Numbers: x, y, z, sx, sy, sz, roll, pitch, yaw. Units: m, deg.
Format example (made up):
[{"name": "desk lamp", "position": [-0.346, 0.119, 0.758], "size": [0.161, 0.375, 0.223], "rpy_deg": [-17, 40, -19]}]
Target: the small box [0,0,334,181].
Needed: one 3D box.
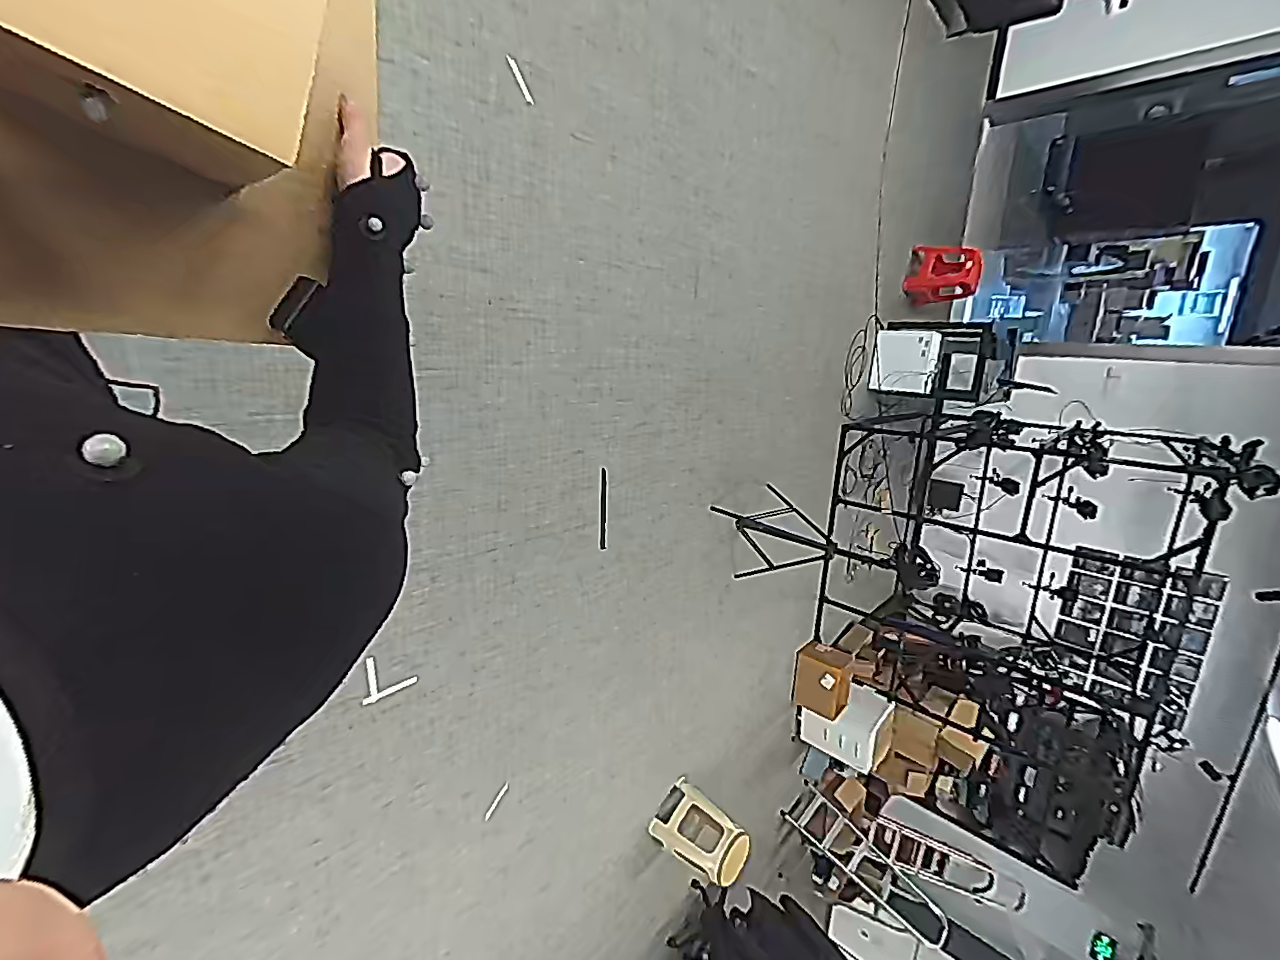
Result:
[{"name": "small box", "position": [-0.334, -0.326, 0.364], "size": [0.179, 0.176, 0.168], "rpy_deg": [10, 98, -48]}]
